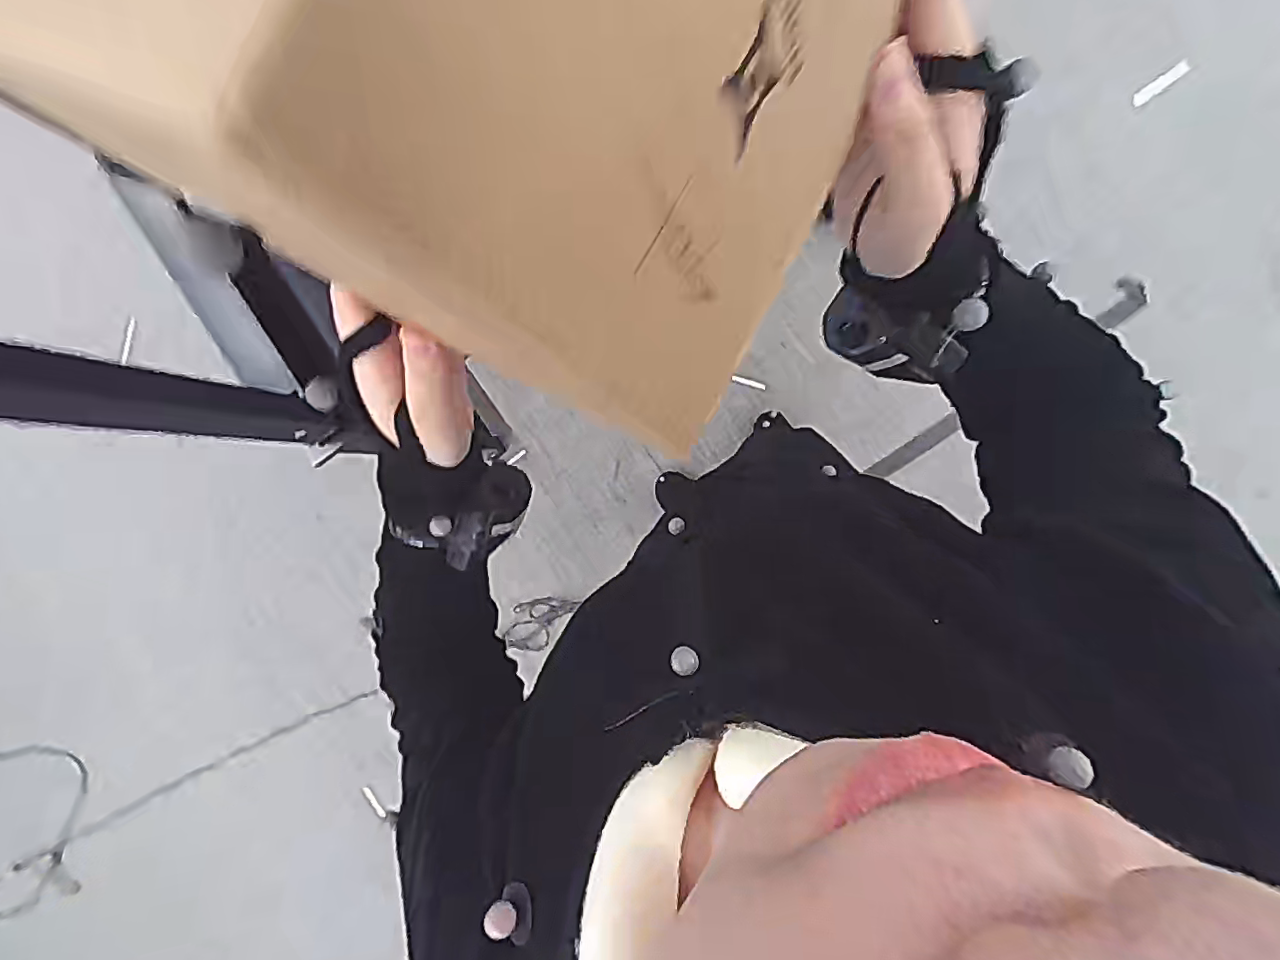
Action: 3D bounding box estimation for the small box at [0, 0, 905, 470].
[{"bbox_3d":[-0.039,-0.128,0.153,0.176,0.168,0.179,28,90,22],"label":"small box"}]
